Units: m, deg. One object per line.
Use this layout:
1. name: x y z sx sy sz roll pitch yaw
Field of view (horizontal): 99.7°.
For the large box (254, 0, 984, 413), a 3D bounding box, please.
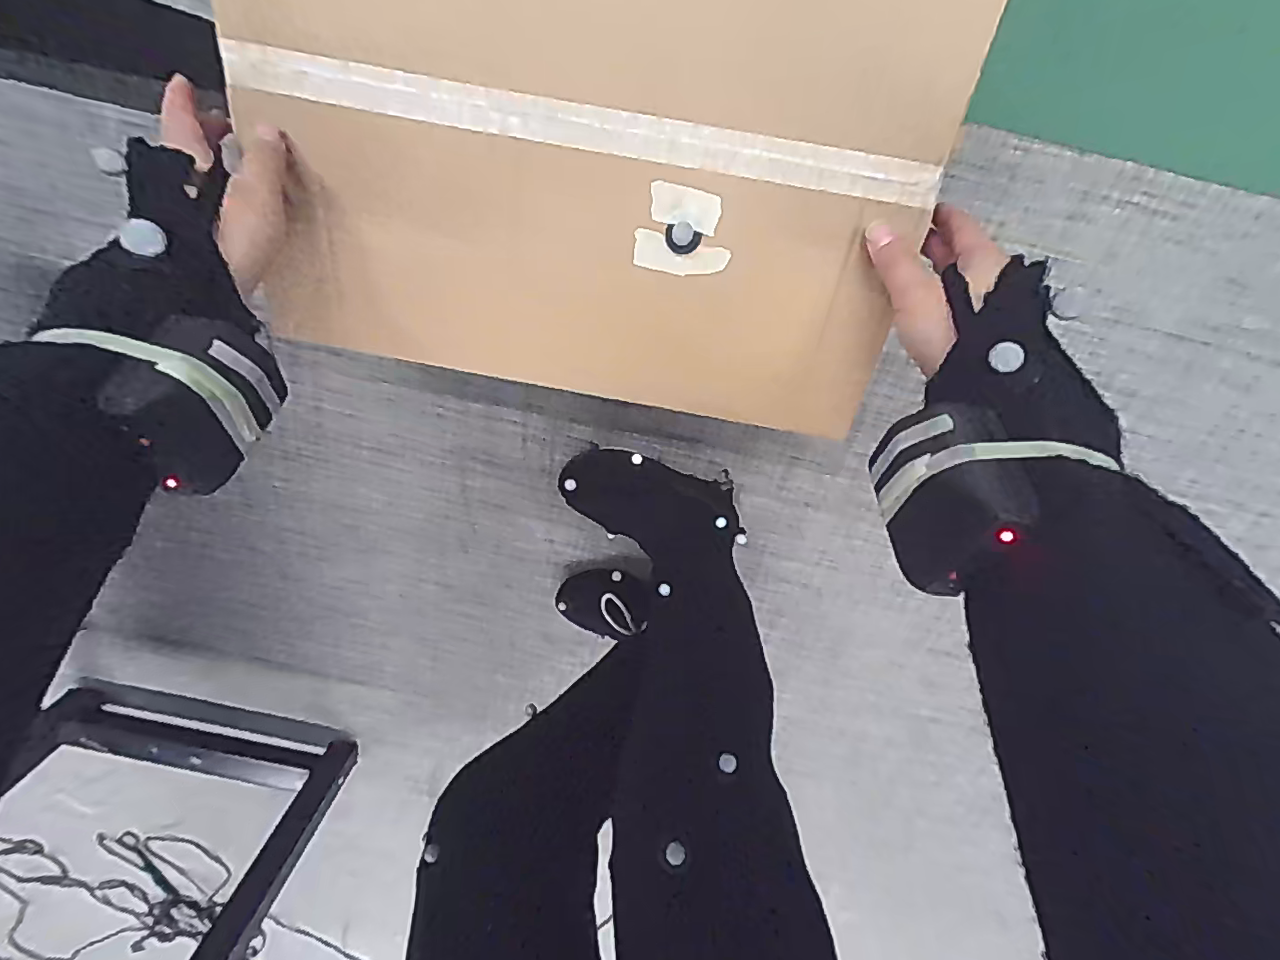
1. large box: -0.018 -0.276 0.452 0.408 0.320 0.320 9 118 0
